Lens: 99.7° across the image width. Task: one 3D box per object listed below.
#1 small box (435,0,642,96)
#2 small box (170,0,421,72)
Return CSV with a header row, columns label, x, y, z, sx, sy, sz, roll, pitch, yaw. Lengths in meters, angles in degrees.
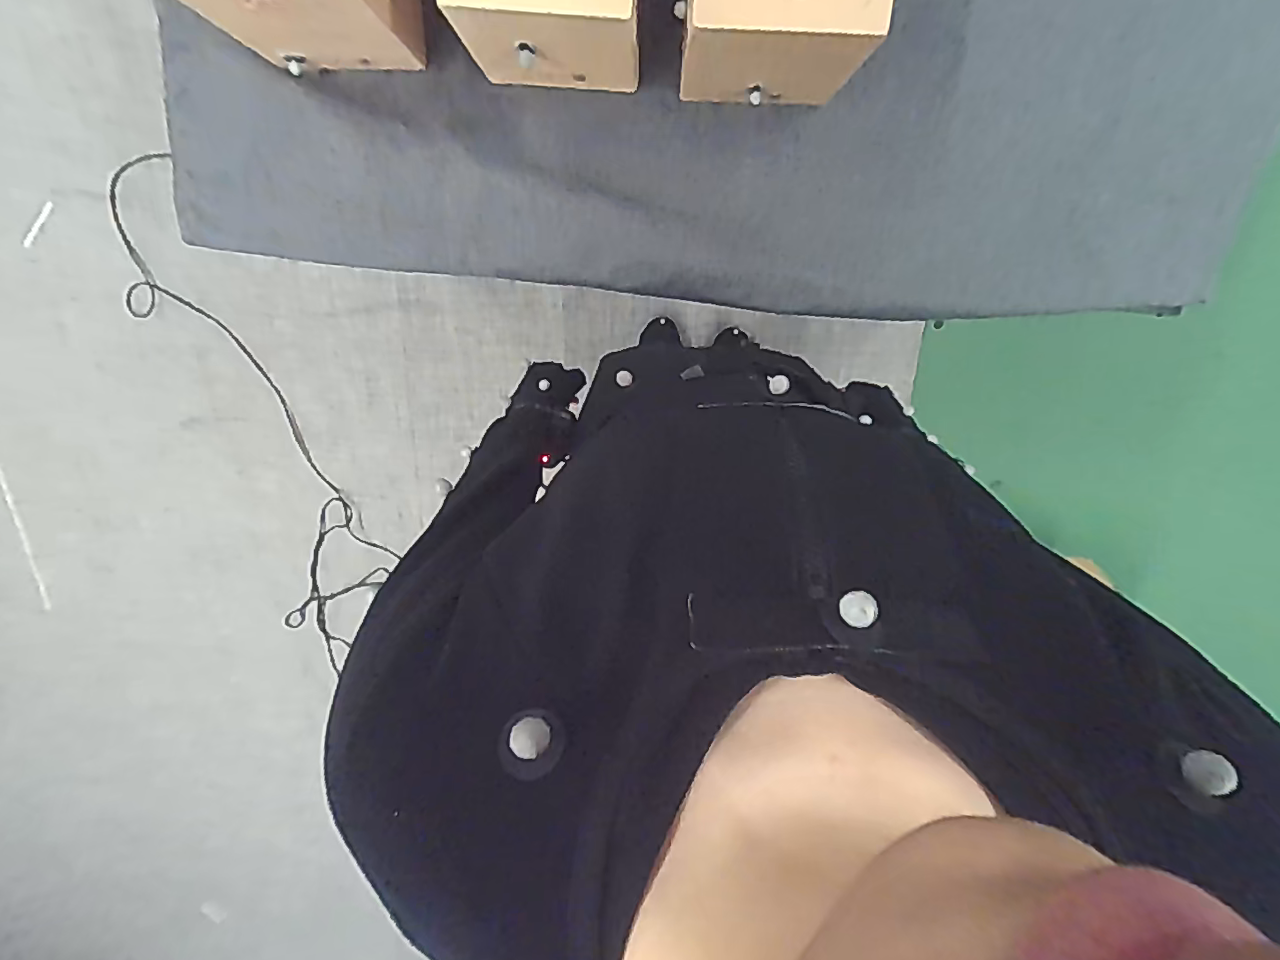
label,x,y,z,sx,sy,sz,roll,pitch,yaw
small box,-0.082,-0.487,0.500,0.168,0.176,0.179,4,106,0
small box,-0.317,-0.507,0.496,0.168,0.176,0.179,0,106,0
